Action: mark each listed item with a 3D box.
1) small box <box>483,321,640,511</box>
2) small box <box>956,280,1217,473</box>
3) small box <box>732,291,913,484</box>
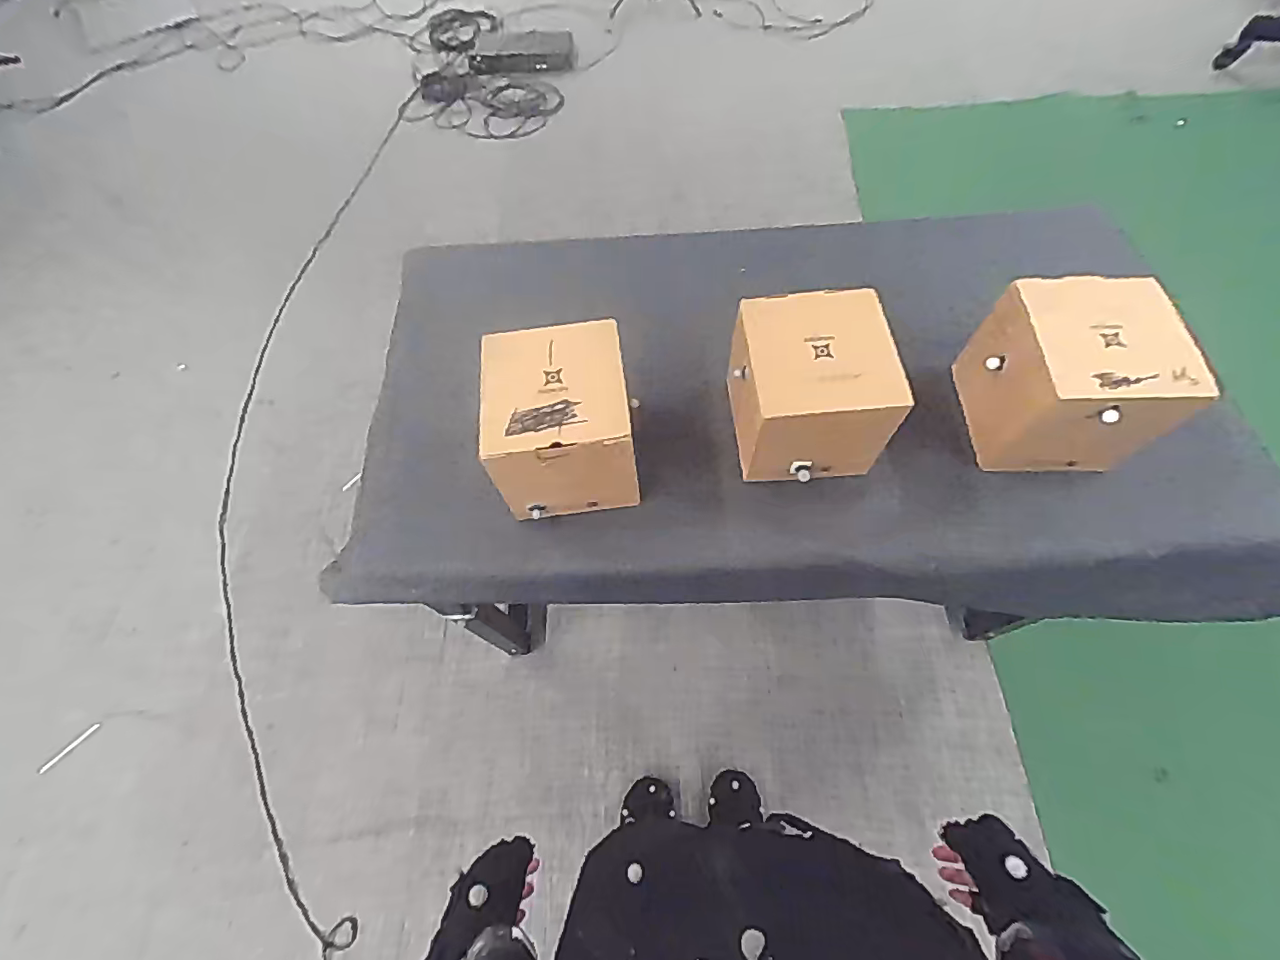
[{"bbox_3d":[-0.092,-0.071,0.689,0.168,0.176,0.179,-7,61,-1],"label":"small box"},{"bbox_3d":[0.531,-0.125,0.681,0.168,0.176,0.179,-1,63,4],"label":"small box"},{"bbox_3d":[0.216,-0.113,0.696,0.168,0.176,0.179,-5,64,2],"label":"small box"}]
